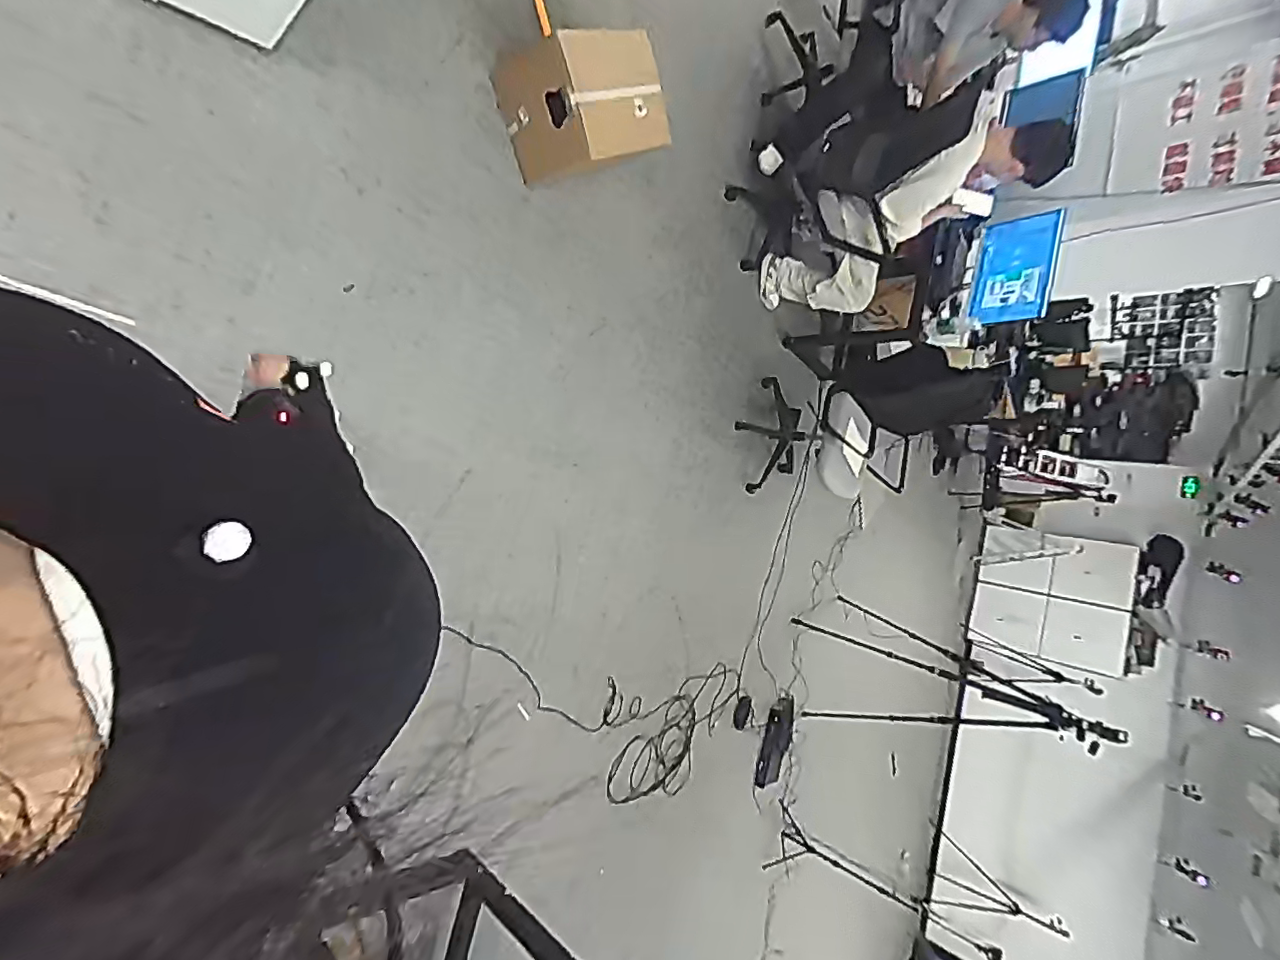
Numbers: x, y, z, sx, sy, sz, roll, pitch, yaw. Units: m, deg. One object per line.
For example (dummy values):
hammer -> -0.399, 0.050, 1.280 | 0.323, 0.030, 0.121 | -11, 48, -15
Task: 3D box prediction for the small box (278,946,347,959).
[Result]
small box -> -0.870, 1.354, 1.400 | 0.168, 0.176, 0.179 | 39, 65, -44
